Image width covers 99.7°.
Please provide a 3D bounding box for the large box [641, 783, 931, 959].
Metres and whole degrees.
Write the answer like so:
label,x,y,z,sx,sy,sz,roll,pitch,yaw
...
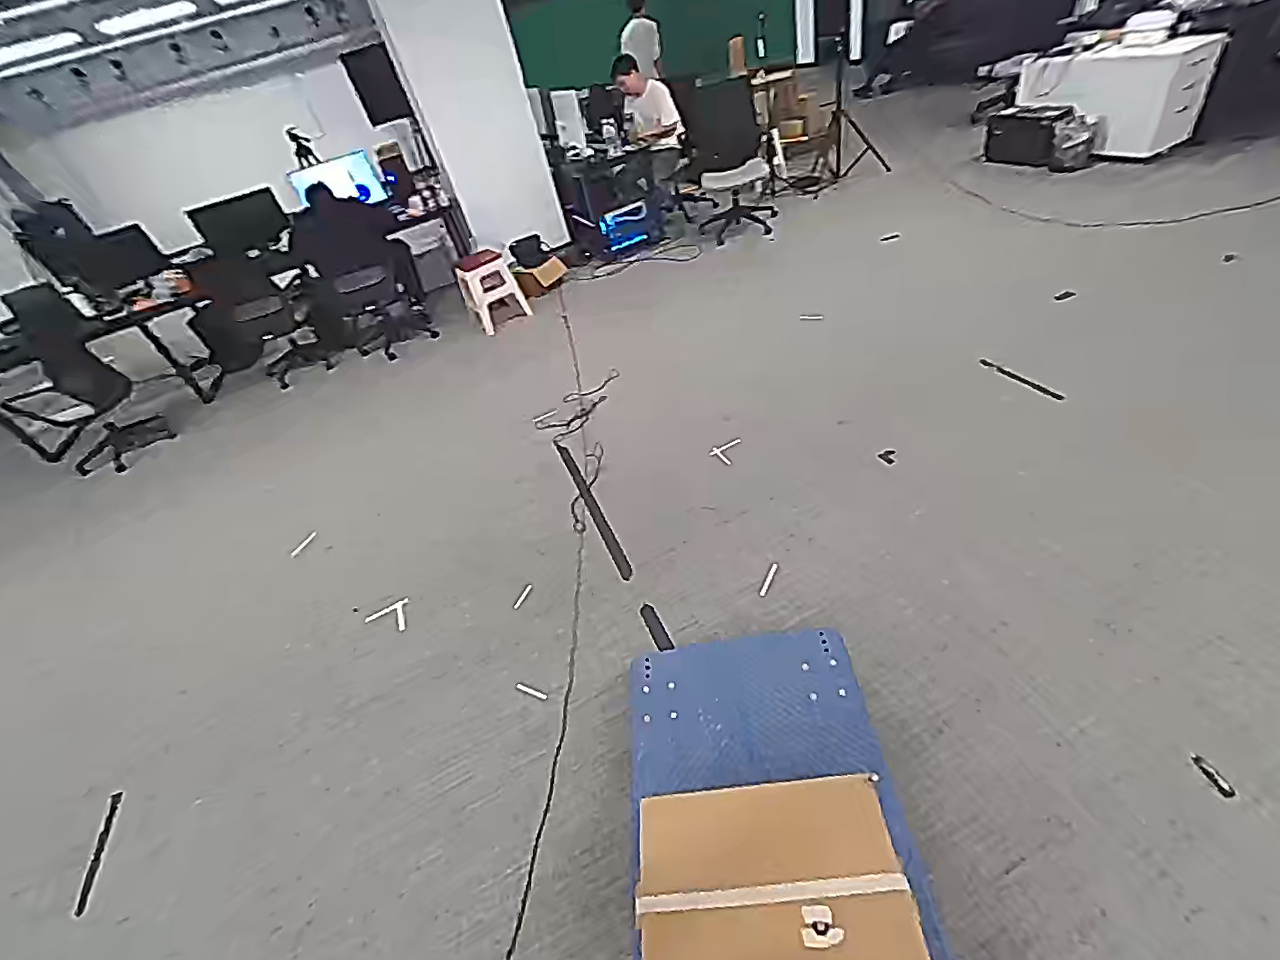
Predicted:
label,x,y,z,sx,sy,sz,roll,pitch,yaw
large box,0.232,0.757,0.906,0.408,0.320,0.320,-11,40,7
